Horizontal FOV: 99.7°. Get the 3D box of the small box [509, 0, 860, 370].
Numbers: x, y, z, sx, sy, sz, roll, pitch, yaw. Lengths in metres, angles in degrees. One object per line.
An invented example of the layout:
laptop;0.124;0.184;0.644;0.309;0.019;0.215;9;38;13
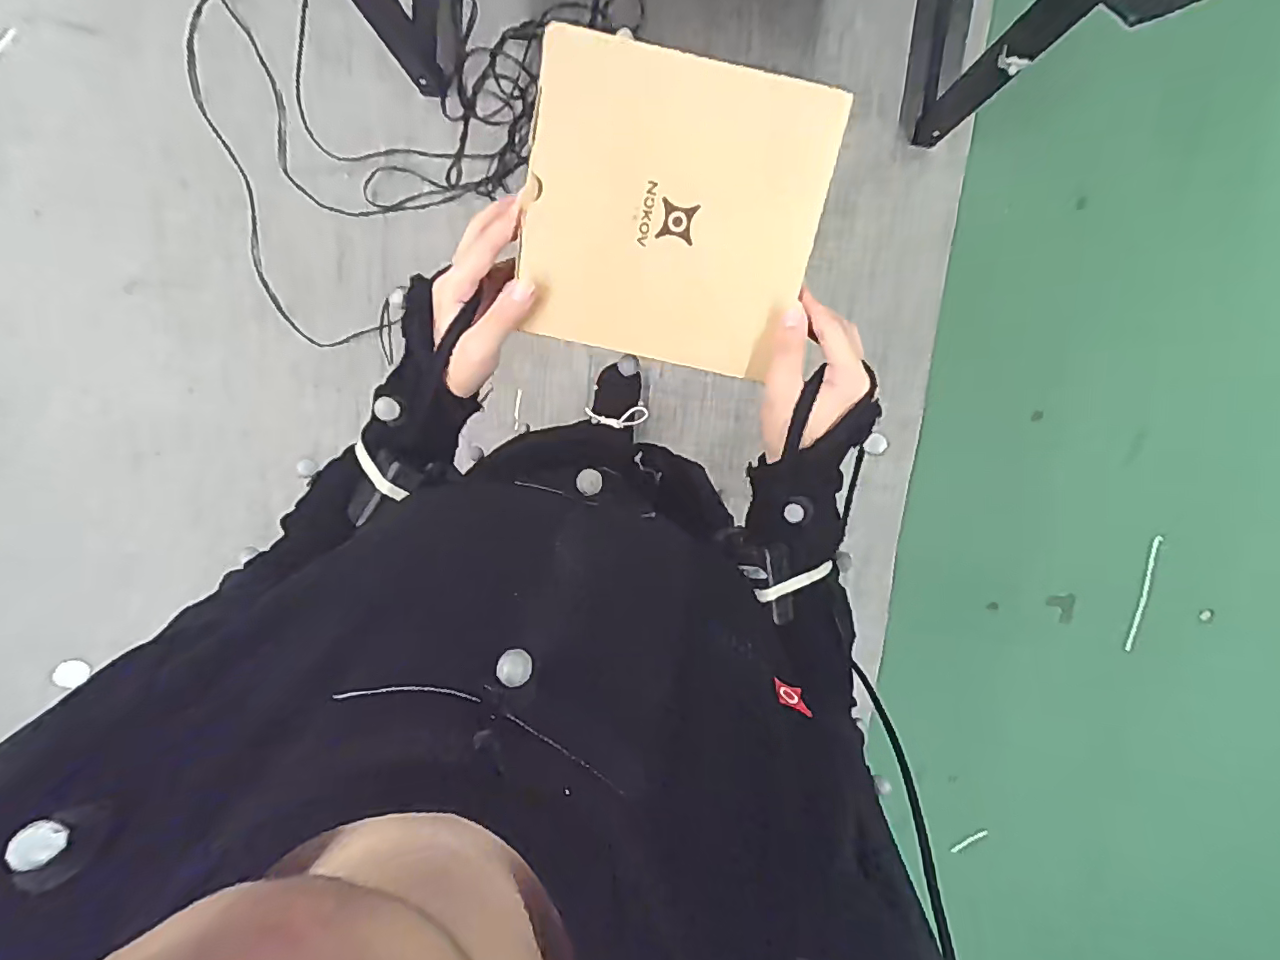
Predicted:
small box;0.021;-0.187;0.389;0.179;0.176;0.168;11;108;-2
